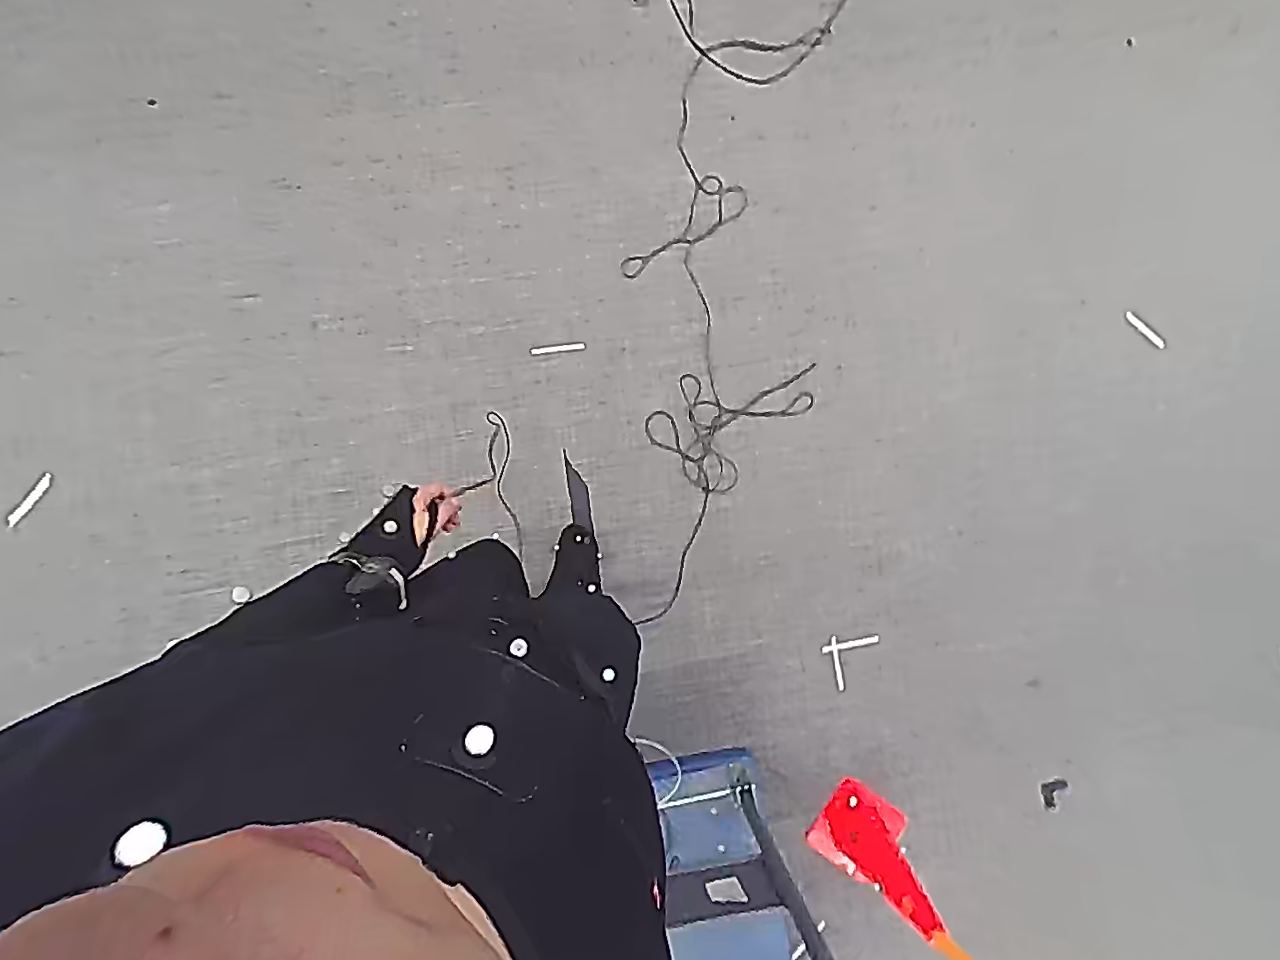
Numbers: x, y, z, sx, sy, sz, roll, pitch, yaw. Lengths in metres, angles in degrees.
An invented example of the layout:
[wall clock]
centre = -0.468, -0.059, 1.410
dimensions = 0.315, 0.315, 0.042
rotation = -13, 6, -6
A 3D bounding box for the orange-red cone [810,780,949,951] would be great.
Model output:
[orange-red cone]
centre = 0.560, 0.878, 1.194
dimensions = 0.198, 0.360, 0.199
rotation = 37, 87, 0
